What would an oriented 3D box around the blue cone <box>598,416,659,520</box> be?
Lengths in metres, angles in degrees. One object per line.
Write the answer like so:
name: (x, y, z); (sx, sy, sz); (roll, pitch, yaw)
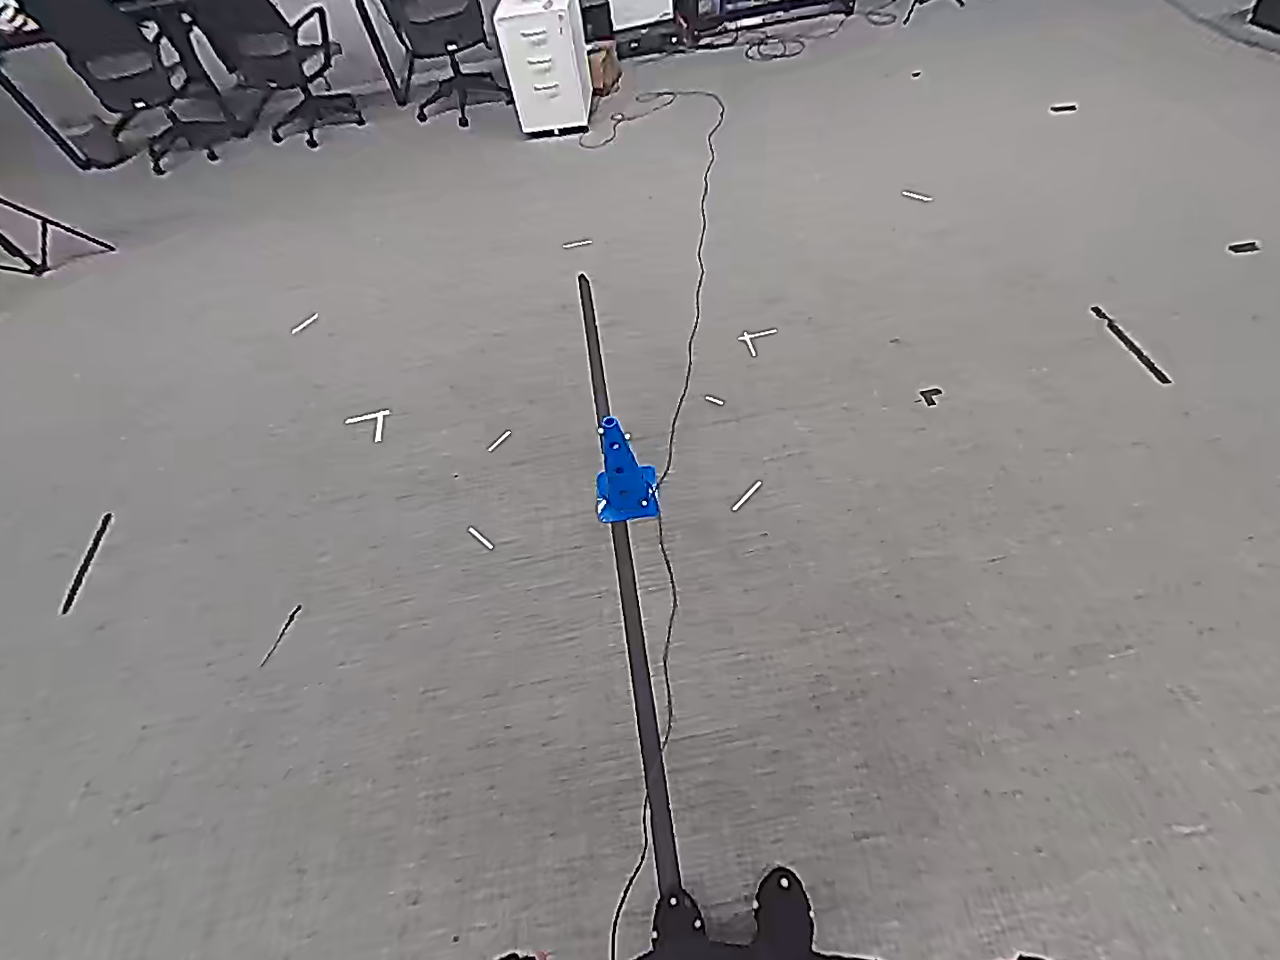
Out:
blue cone: (-0.058, -0.058, 1.609); (0.193, 0.380, 0.192); (-8, 54, 2)
